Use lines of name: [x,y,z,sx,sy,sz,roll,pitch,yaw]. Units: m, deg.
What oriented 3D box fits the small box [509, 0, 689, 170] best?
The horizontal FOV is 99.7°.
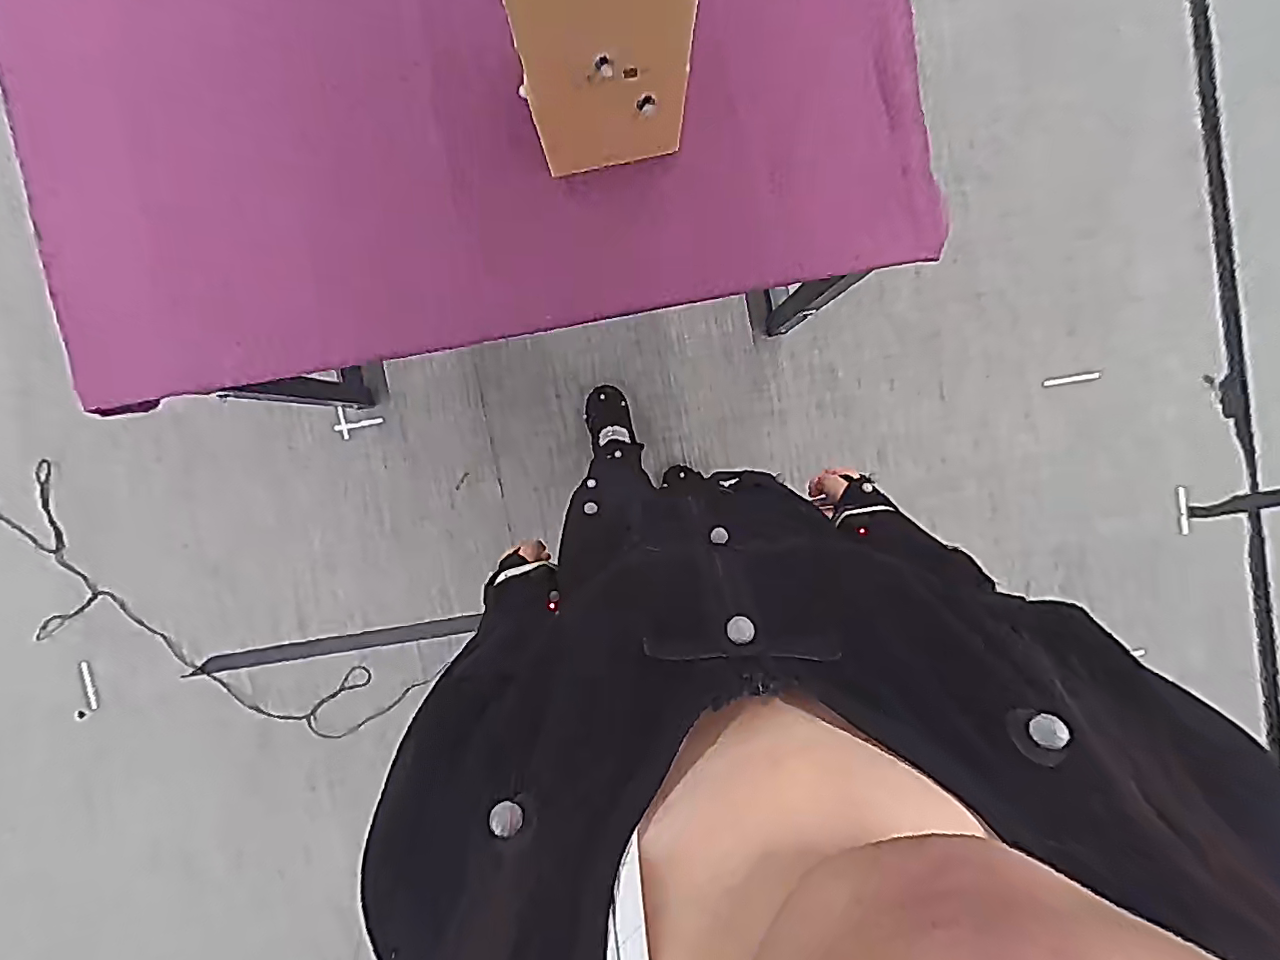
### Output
small box: [-0.048,-0.502,0.641,0.179,0.176,0.168,-11,94,1]
